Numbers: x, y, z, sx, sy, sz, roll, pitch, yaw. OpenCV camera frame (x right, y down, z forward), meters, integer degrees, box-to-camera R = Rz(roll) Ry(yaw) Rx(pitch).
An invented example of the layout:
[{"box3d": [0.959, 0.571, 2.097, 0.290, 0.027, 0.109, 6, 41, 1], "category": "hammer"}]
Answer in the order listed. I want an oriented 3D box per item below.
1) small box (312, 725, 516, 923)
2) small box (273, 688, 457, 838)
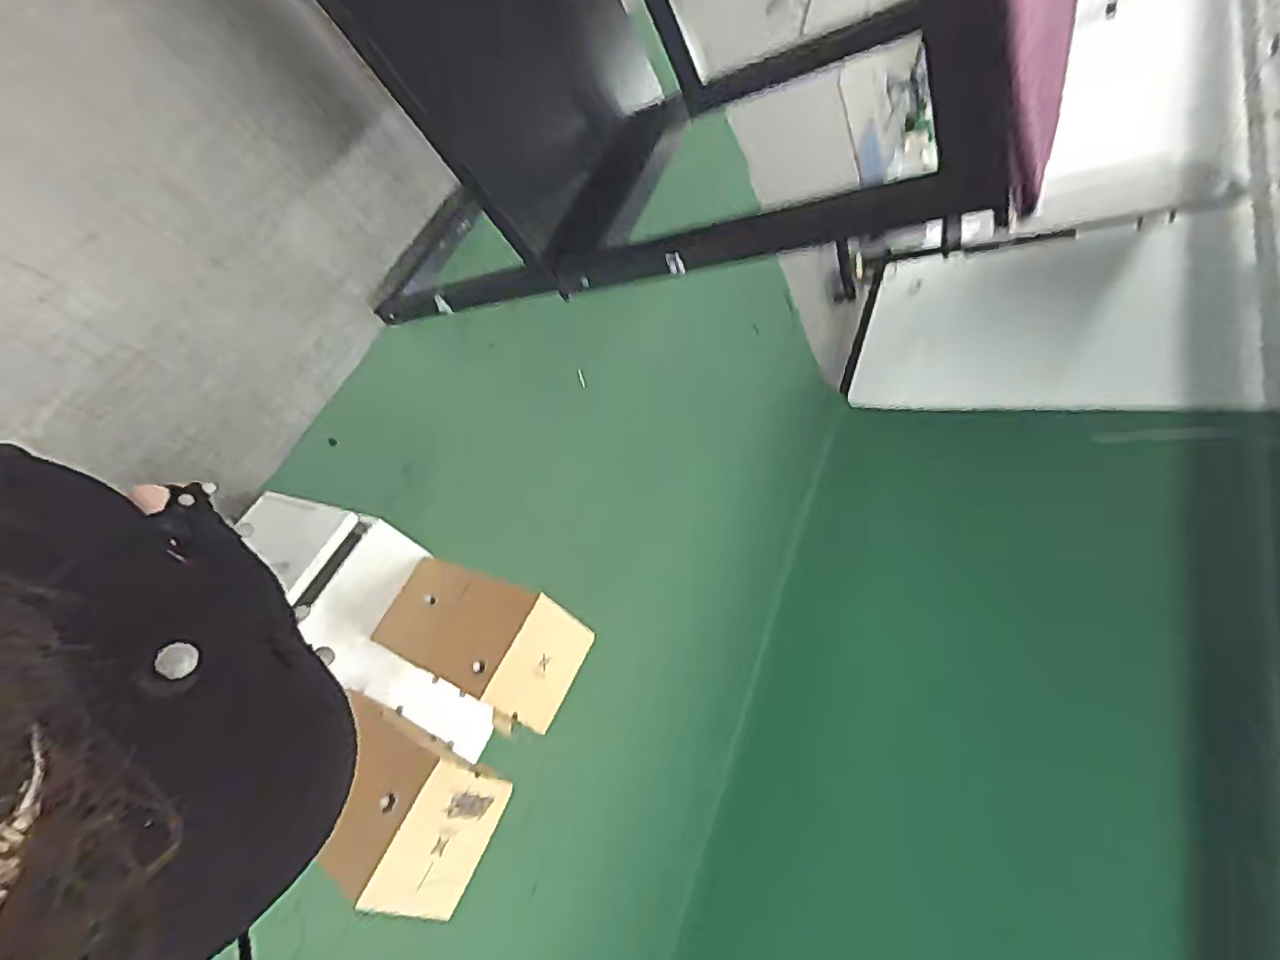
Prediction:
[{"box3d": [-0.320, 0.479, 0.770, 0.168, 0.176, 0.179, 54, 54, -40], "category": "small box"}, {"box3d": [-0.445, 0.465, 0.877, 0.168, 0.176, 0.179, 54, 54, -40], "category": "small box"}]
